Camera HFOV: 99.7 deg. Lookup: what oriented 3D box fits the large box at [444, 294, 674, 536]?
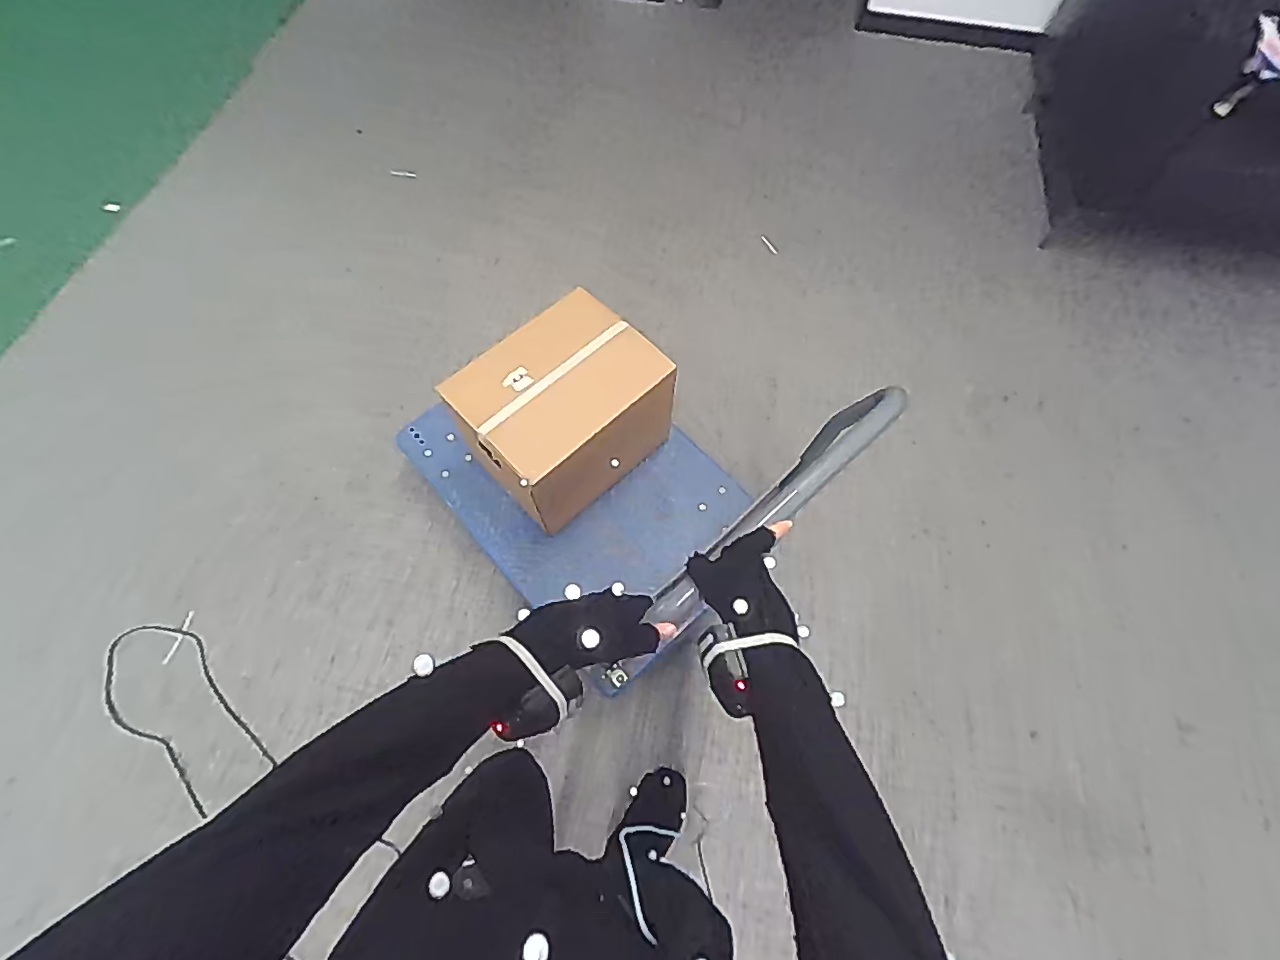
[{"bbox_3d":[-0.166,-0.144,1.274,0.408,0.320,0.320,-42,71,-16],"label":"large box"}]
